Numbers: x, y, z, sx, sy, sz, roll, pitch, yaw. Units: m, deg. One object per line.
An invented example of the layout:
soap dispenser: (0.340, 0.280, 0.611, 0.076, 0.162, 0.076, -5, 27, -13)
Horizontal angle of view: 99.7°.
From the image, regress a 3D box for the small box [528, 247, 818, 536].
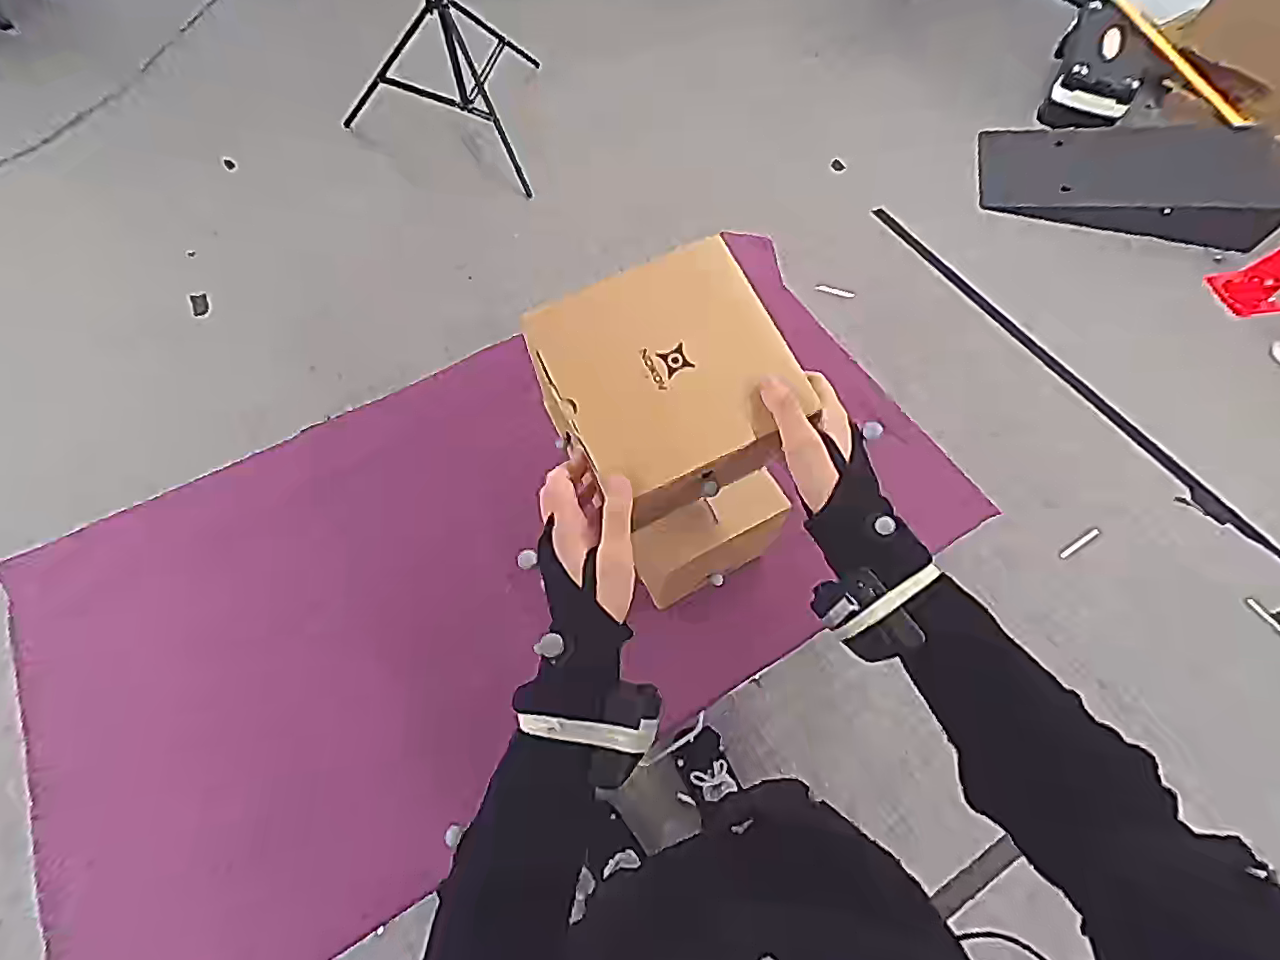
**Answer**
small box: (0.020, -0.064, 0.488, 0.179, 0.176, 0.168, -26, 79, -7)

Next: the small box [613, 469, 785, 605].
small box: (0.051, 0.034, 0.688, 0.168, 0.176, 0.179, -26, 67, -12)
